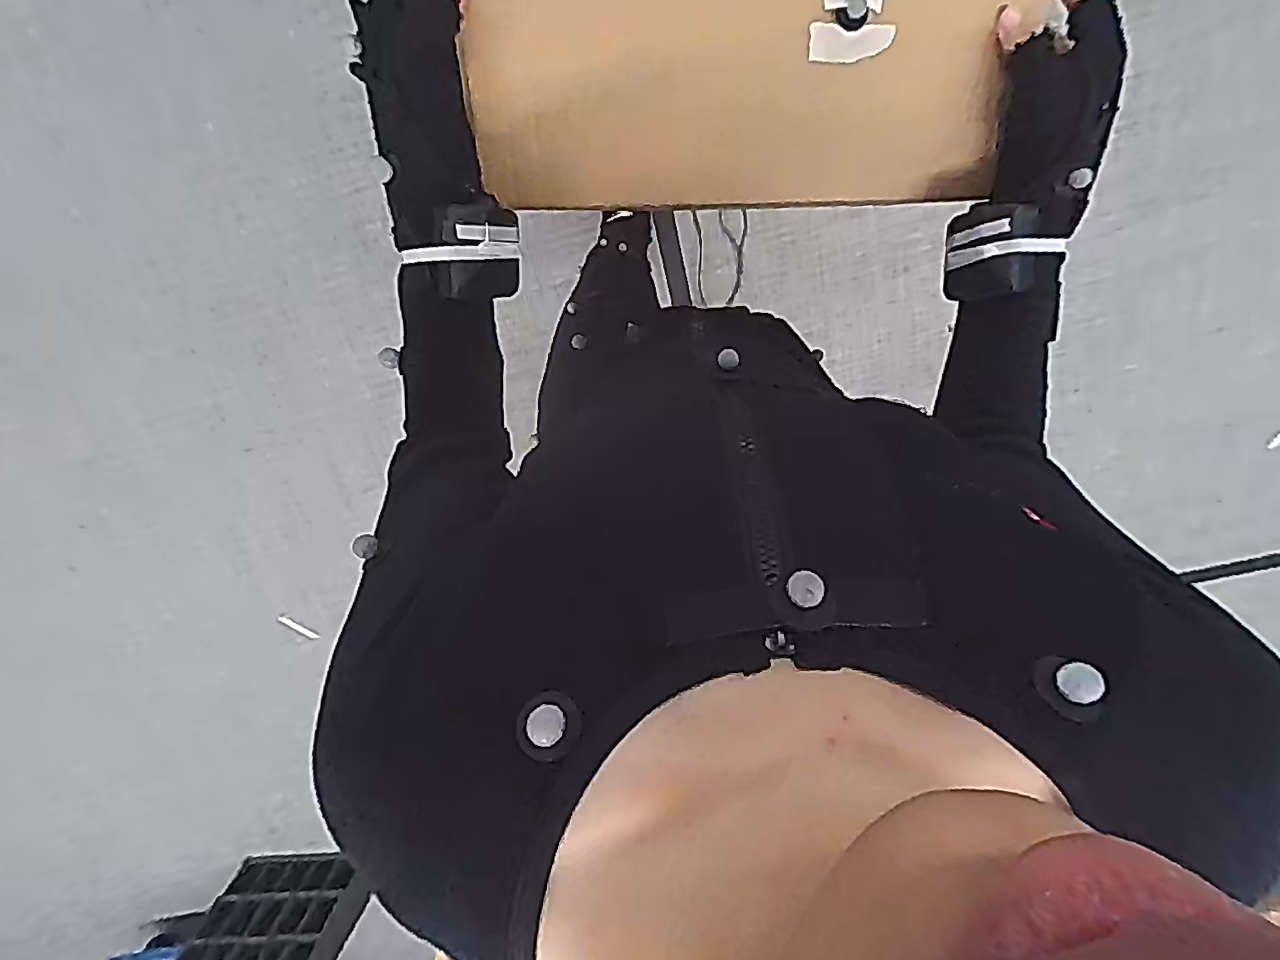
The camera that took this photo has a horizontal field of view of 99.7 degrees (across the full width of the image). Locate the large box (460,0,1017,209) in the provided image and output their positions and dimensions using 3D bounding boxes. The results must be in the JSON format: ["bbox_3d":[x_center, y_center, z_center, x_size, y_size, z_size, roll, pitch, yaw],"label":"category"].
[{"bbox_3d":[0.062,-0.433,0.498,0.408,0.320,0.320,-2,116,-3],"label":"large box"}]
